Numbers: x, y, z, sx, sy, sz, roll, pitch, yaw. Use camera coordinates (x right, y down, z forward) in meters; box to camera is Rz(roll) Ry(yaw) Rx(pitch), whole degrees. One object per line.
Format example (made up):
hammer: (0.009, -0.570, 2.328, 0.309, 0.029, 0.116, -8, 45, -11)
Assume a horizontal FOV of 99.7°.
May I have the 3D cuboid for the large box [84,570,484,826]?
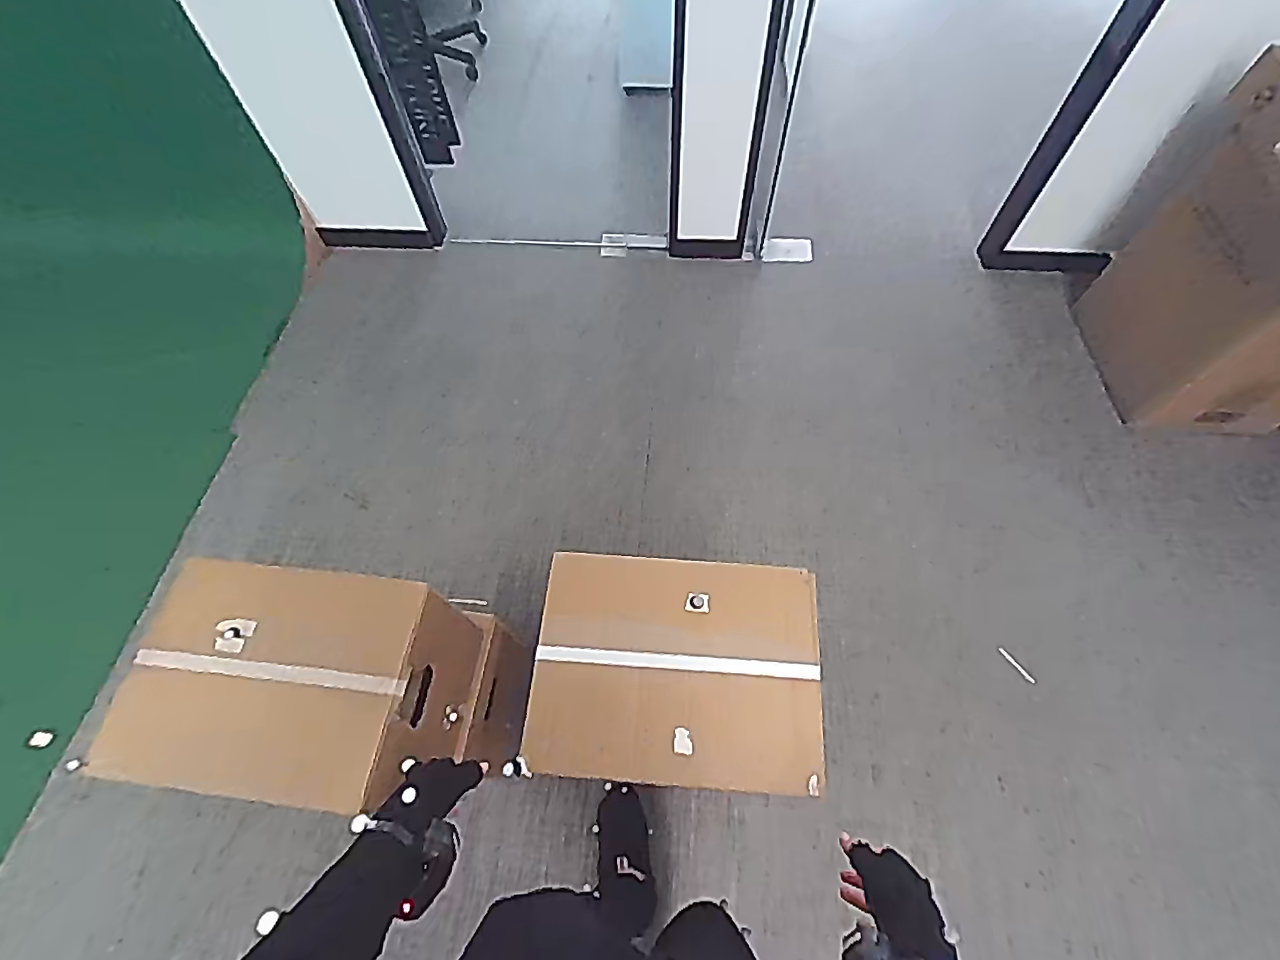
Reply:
large box: (-0.529, 0.360, 0.908, 0.408, 0.320, 0.320, 5, 62, 6)
